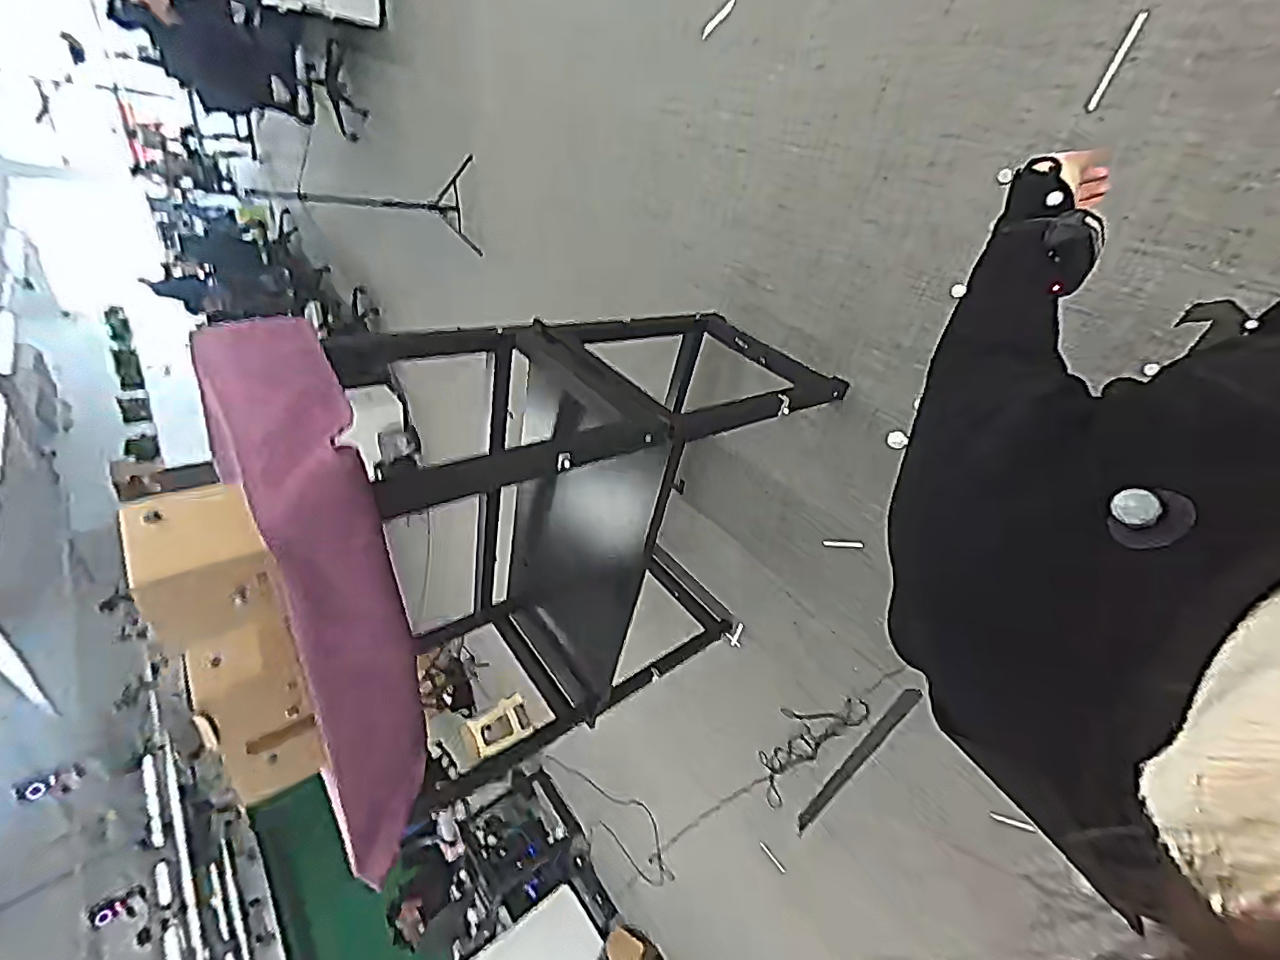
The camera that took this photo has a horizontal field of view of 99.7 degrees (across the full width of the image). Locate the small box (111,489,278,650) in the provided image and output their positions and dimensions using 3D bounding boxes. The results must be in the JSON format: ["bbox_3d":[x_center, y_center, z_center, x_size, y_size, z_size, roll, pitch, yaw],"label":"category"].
[{"bbox_3d":[-0.707,0.132,0.872,0.179,0.176,0.168,45,136,31],"label":"small box"}]

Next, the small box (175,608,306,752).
[{"bbox_3d":[-0.783,0.385,1.073,0.179,0.176,0.168,38,131,38],"label":"small box"}]

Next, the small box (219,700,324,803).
[{"bbox_3d":[-0.837,0.573,1.219,0.168,0.176,0.179,42,134,34],"label":"small box"}]
